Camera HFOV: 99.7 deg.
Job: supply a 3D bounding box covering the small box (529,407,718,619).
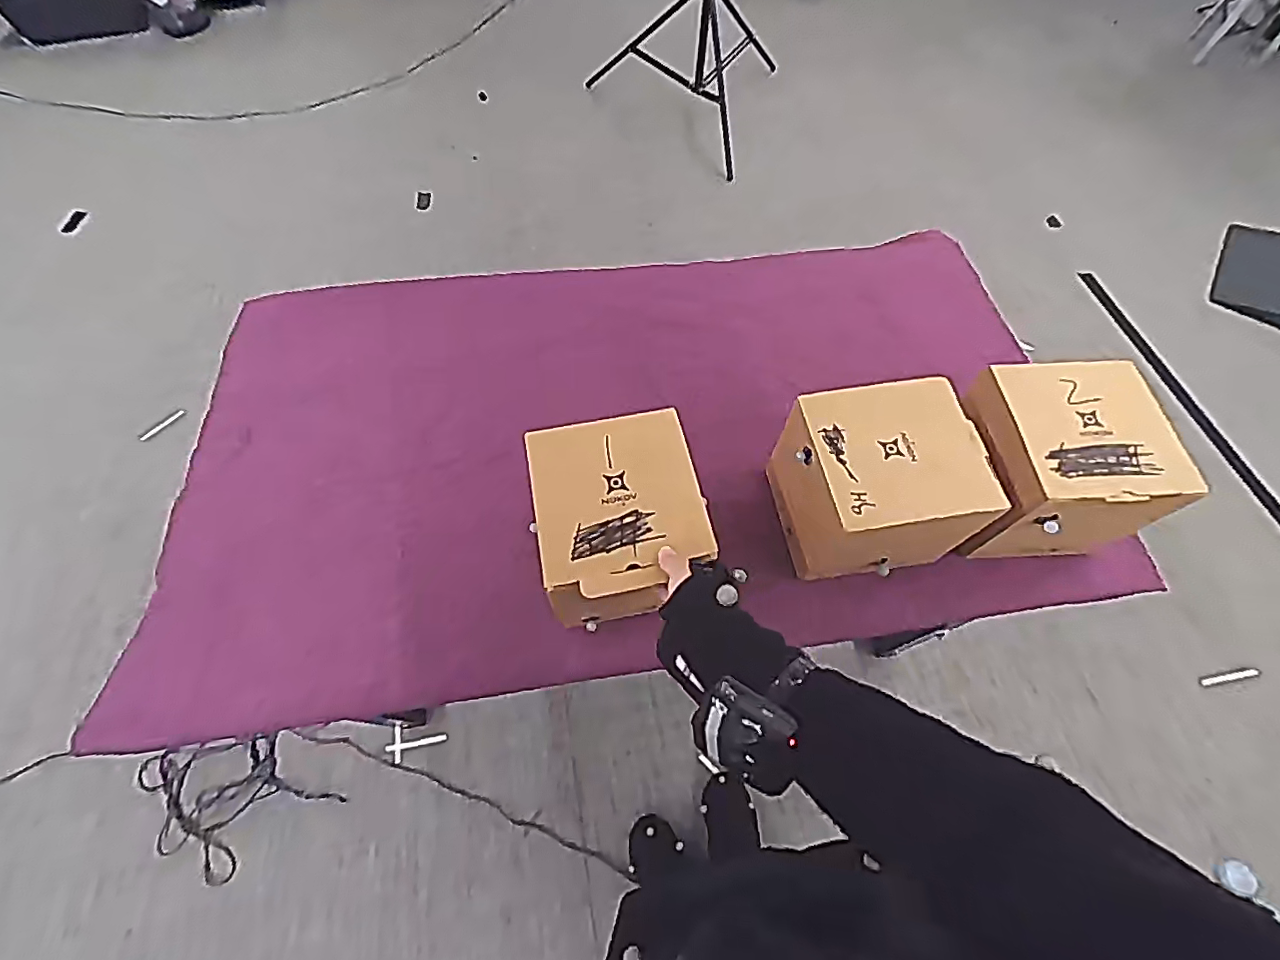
[{"bbox_3d":[-0.021,0.047,0.606,0.168,0.176,0.179,-10,63,-6],"label":"small box"}]
